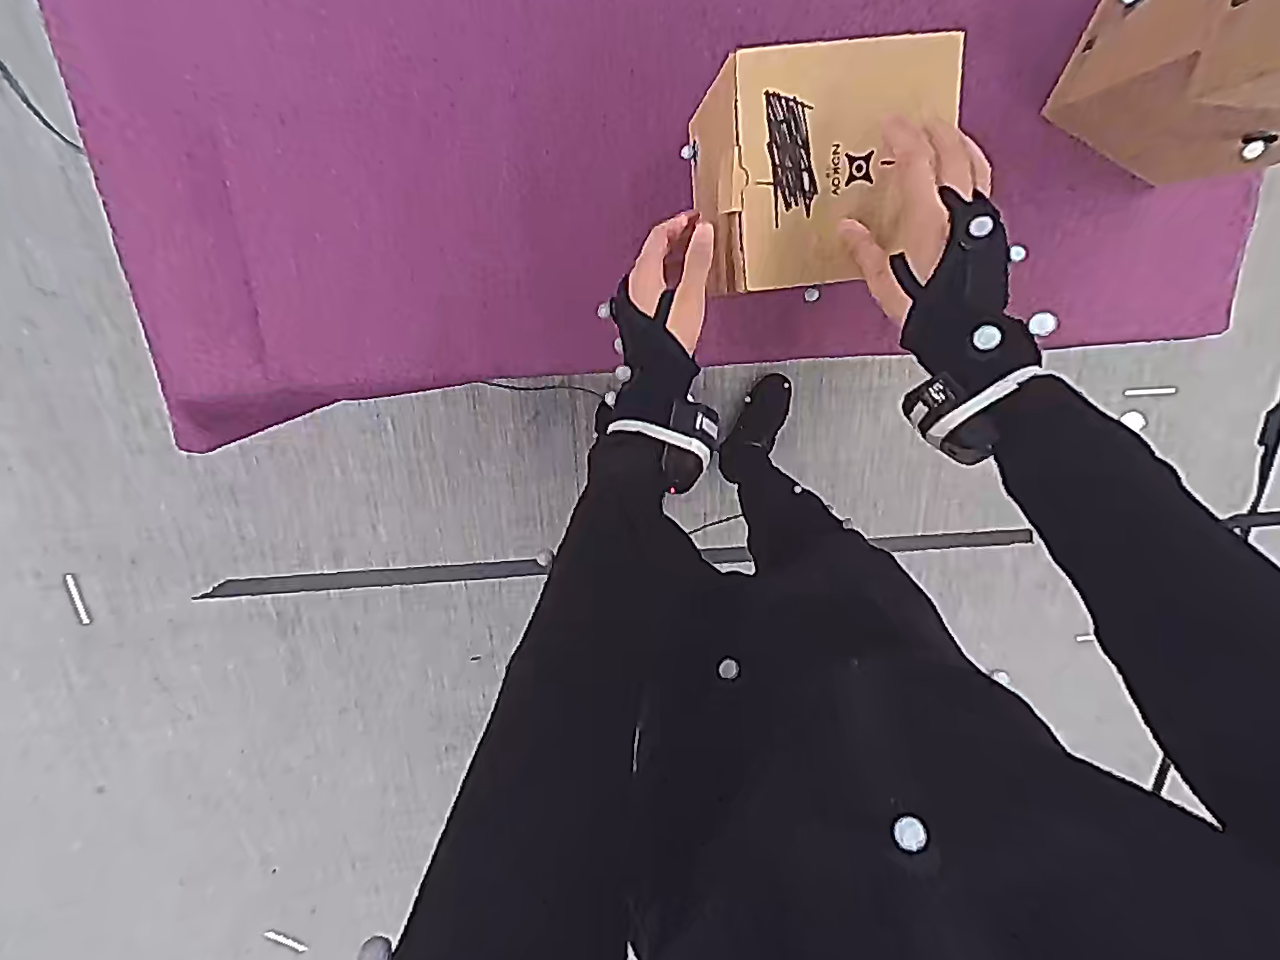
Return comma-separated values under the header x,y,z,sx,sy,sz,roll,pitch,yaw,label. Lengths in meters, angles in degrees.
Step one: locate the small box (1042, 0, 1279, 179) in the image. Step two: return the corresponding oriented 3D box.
x,y,z,sx,sy,sz,roll,pitch,yaw,label
0.532,-0.398,0.488,0.179,0.176,0.168,21,104,-12,small box
